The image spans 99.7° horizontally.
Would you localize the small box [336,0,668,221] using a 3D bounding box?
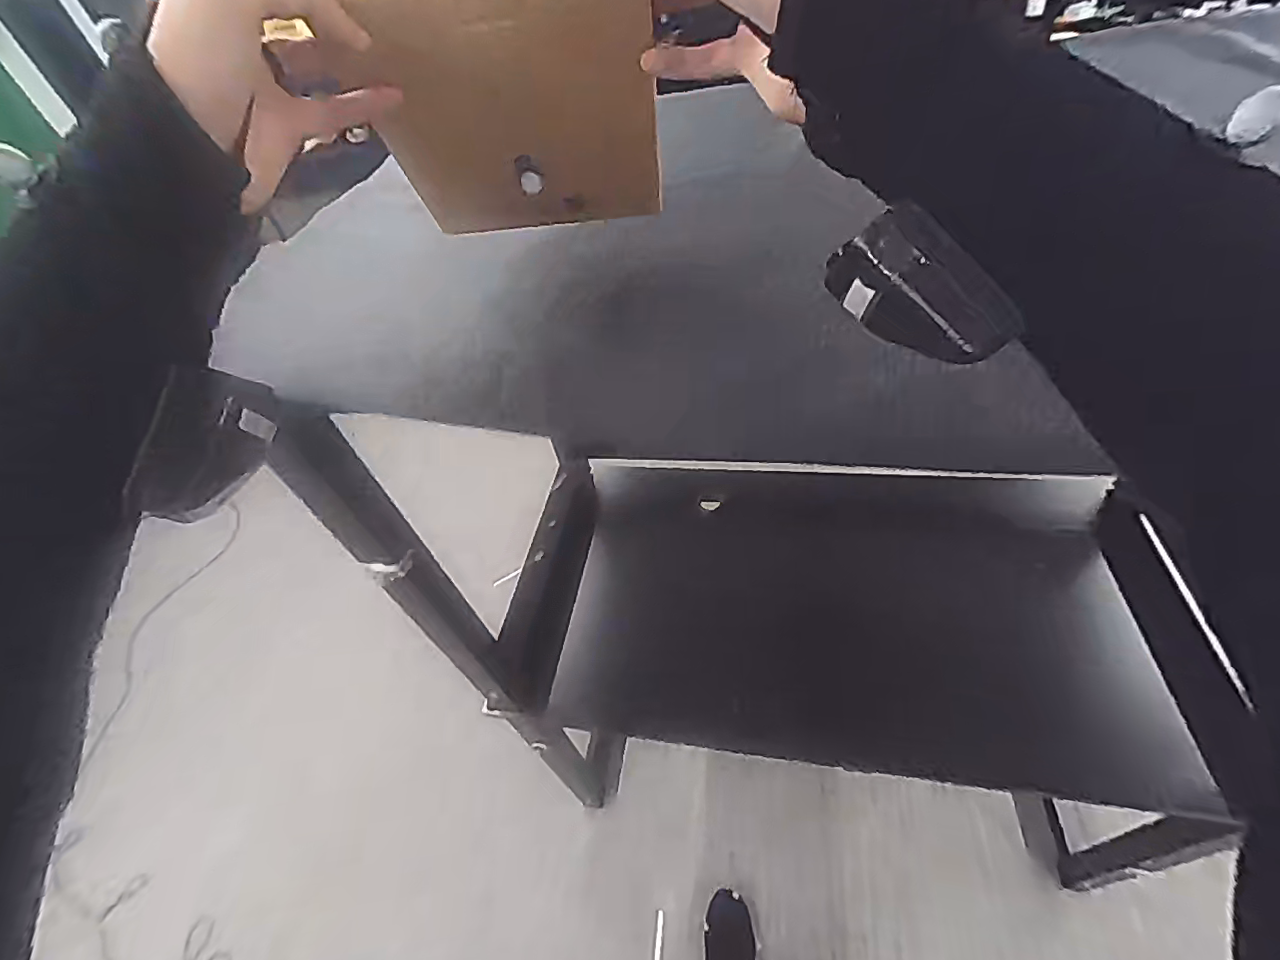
[{"bbox_3d":[-0.068,-0.302,0.348,0.168,0.176,0.179,-3,77,5],"label":"small box"}]
